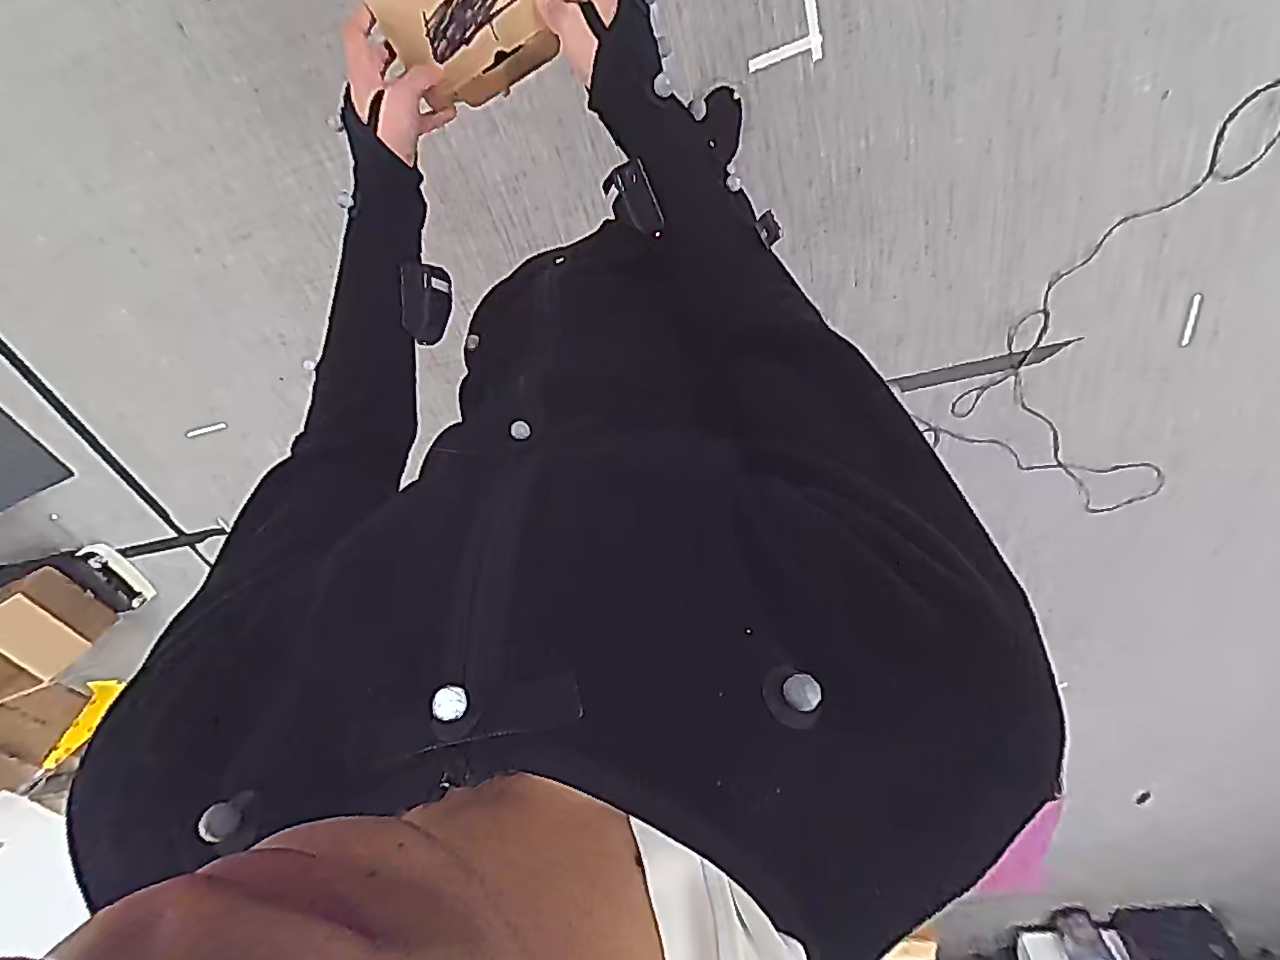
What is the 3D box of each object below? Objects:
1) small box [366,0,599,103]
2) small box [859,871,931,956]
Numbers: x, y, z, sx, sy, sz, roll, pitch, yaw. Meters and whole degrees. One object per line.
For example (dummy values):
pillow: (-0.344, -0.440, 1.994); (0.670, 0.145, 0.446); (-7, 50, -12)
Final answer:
small box: (-0.152, -0.481, 0.483); (0.168, 0.176, 0.179); (-19, 125, 20)
small box: (0.798, 1.367, 1.707); (0.168, 0.176, 0.179); (-10, 123, 10)
